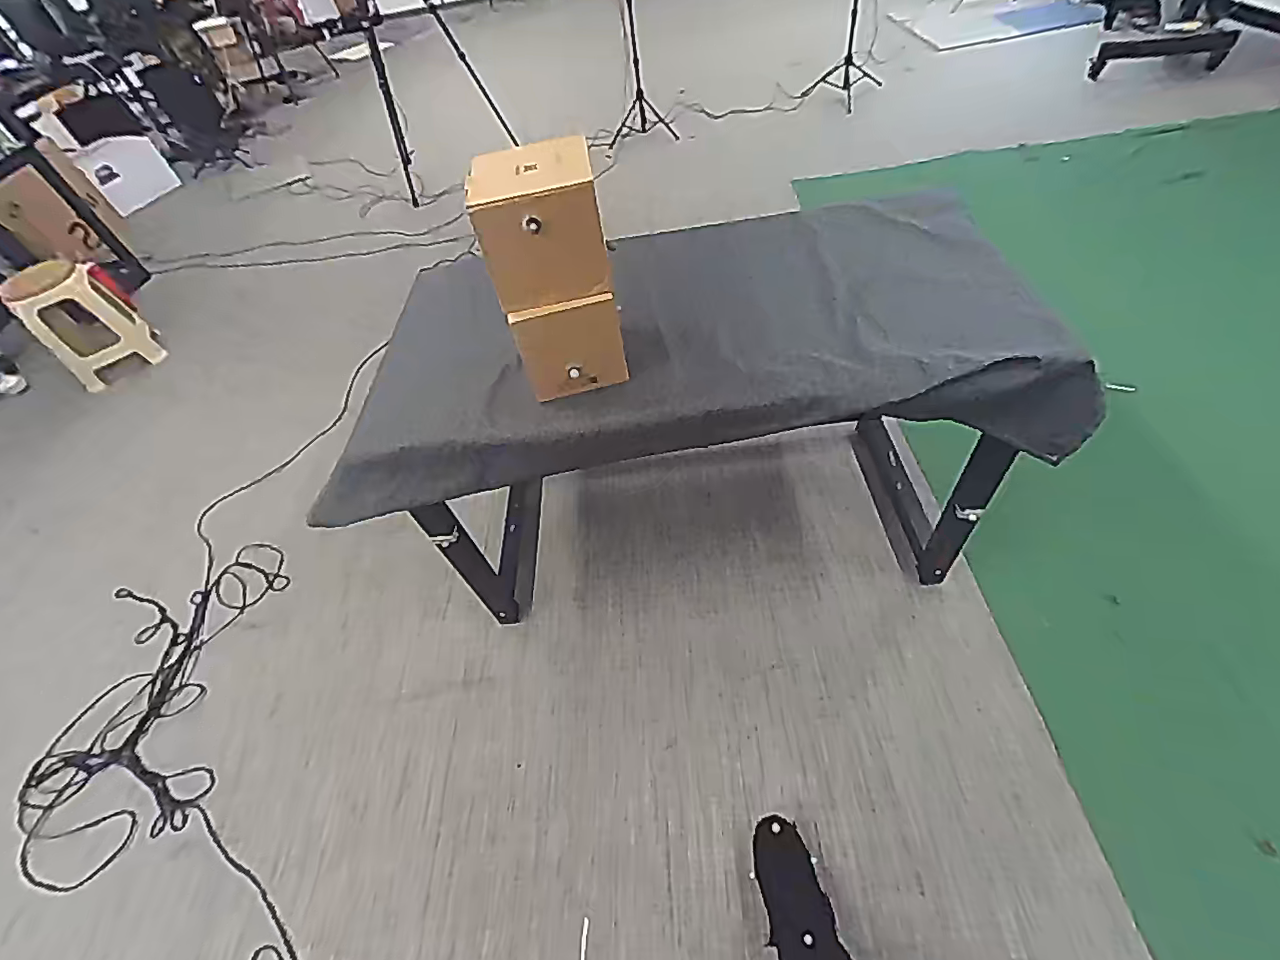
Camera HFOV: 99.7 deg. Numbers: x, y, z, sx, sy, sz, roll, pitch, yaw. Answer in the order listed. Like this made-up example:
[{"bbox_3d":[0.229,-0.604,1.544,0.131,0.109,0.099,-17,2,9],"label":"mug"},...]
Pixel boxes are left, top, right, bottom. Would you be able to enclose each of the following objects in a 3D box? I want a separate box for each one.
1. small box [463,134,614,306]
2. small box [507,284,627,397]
[{"bbox_3d":[-0.145,-0.384,0.811,0.179,0.176,0.168,-10,52,0],"label":"small box"},{"bbox_3d":[-0.125,-0.271,0.926,0.168,0.176,0.179,-14,51,-1],"label":"small box"}]
